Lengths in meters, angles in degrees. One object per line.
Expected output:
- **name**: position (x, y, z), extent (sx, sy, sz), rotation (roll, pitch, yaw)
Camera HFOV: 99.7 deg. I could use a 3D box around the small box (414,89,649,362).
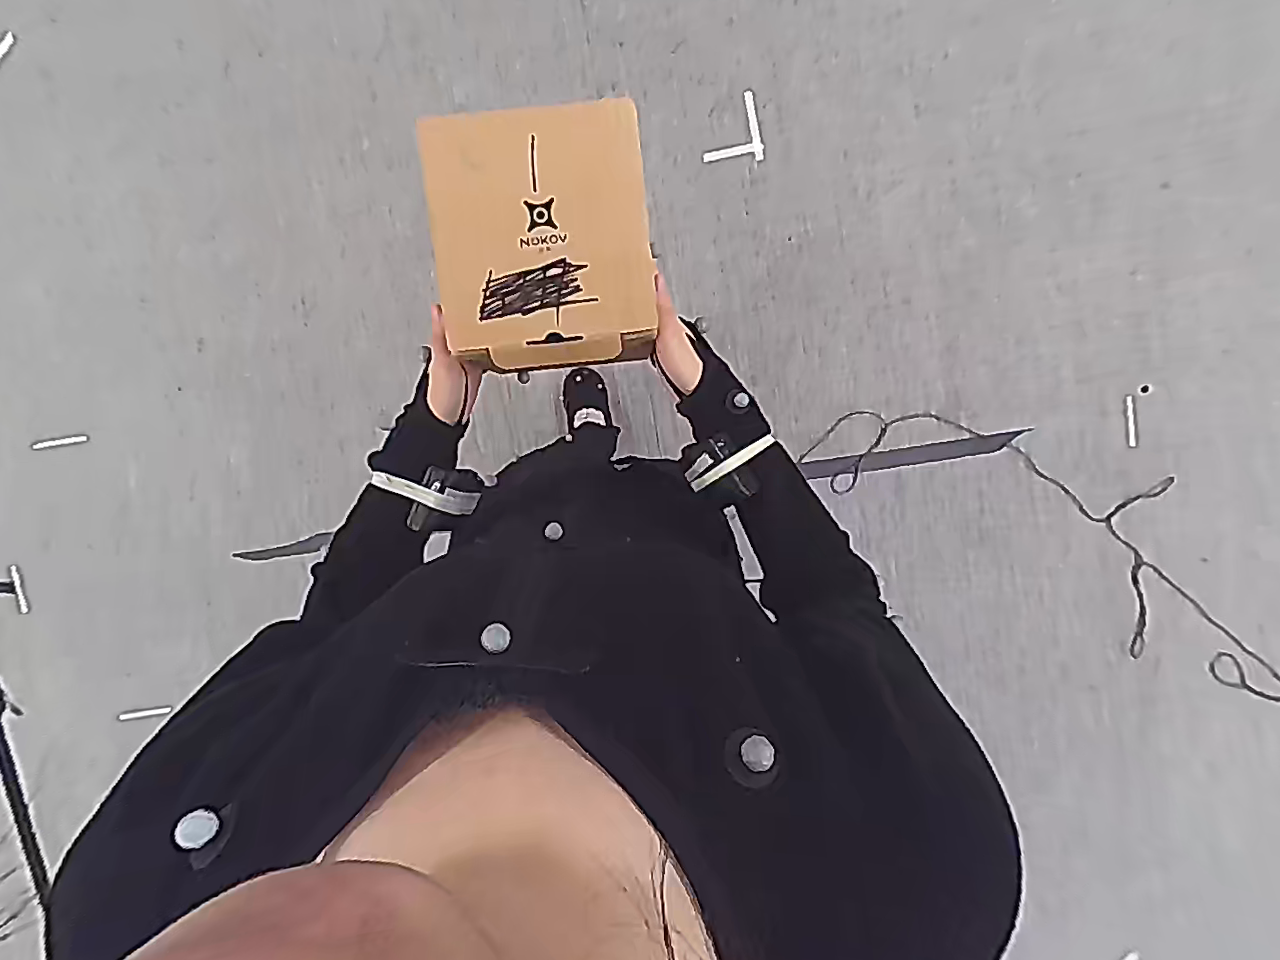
- **small box**: position (-0.080, -0.205, 0.488), extent (0.168, 0.176, 0.179), rotation (-6, 95, -1)
